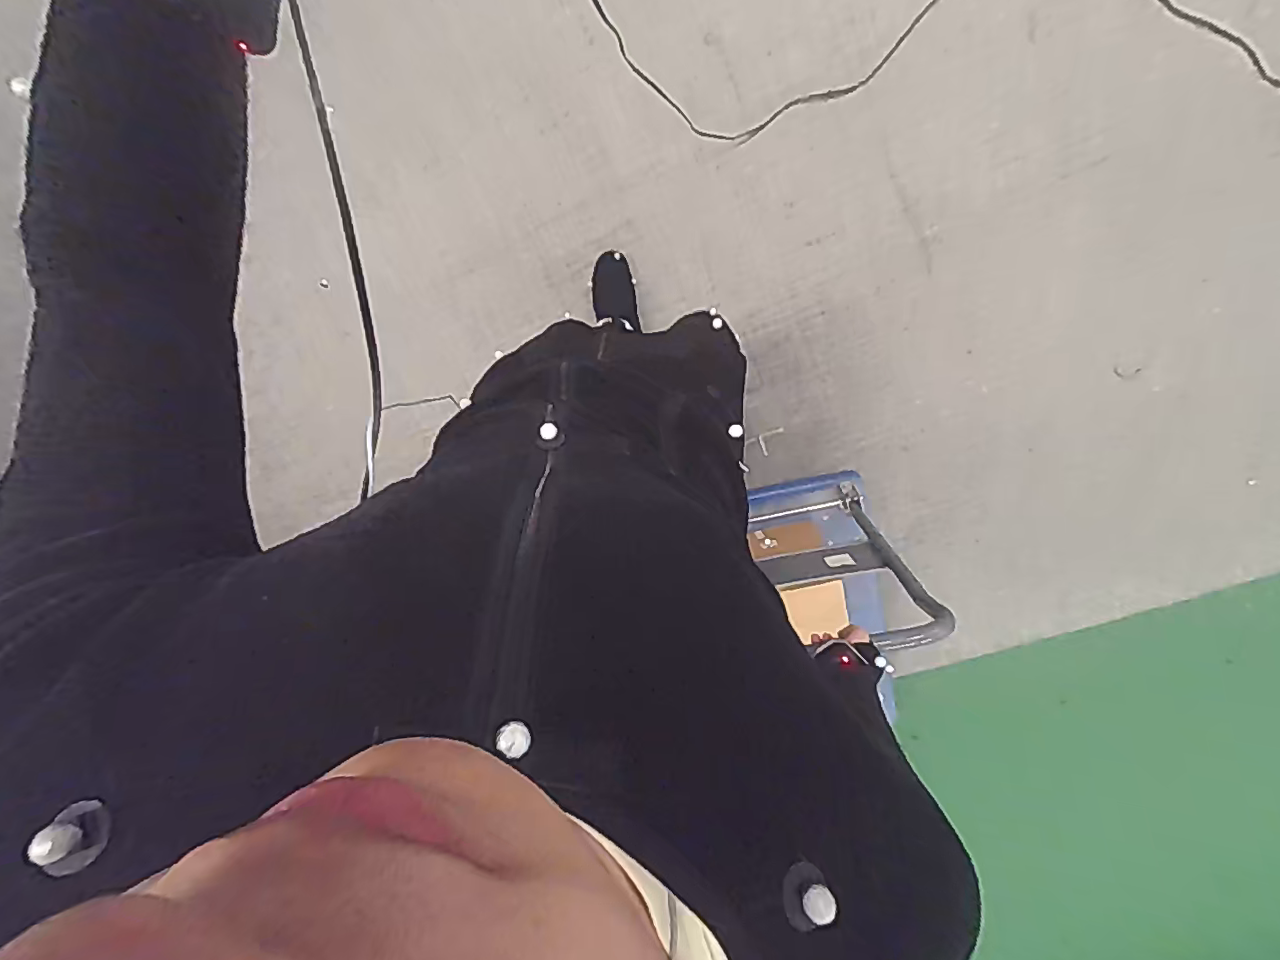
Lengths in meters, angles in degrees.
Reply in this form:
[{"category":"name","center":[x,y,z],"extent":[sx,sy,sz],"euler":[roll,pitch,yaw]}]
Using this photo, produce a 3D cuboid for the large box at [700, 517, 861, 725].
[{"category":"large box","center":[0.360,0.364,1.442],"extent":[0.320,0.320,0.408],"euler":[-13,110,10]}]
